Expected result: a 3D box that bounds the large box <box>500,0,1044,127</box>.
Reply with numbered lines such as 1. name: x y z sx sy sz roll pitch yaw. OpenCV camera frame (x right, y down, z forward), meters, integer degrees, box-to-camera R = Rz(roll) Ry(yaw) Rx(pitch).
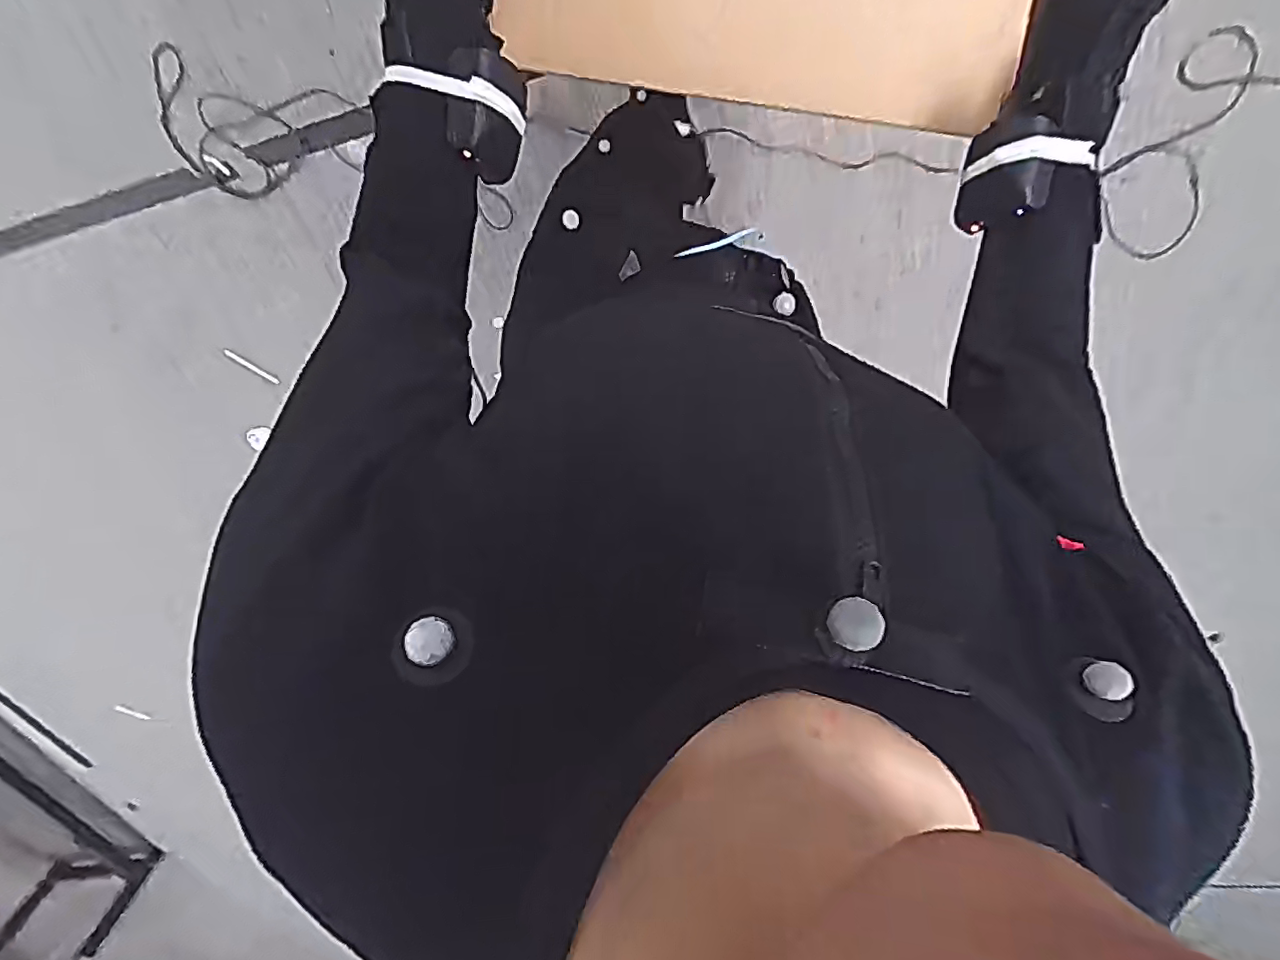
1. large box: 0.104 -0.517 0.445 0.408 0.320 0.320 5 132 -4
